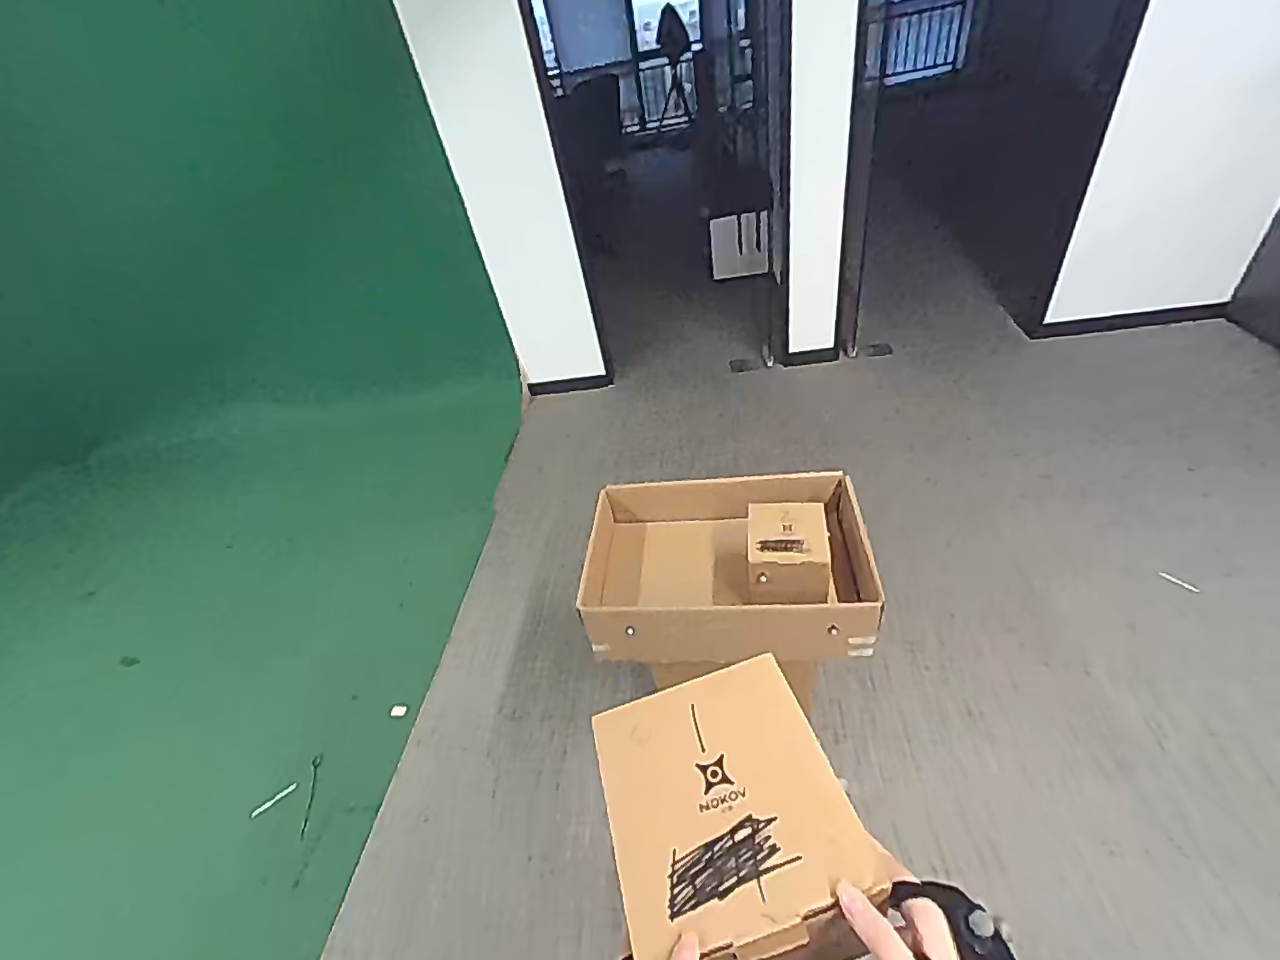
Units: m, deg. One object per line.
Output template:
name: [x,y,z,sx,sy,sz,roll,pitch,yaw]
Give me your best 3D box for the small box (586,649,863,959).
small box: [0.066,0.281,0.446,0.168,0.176,0.179,-18,35,-2]
